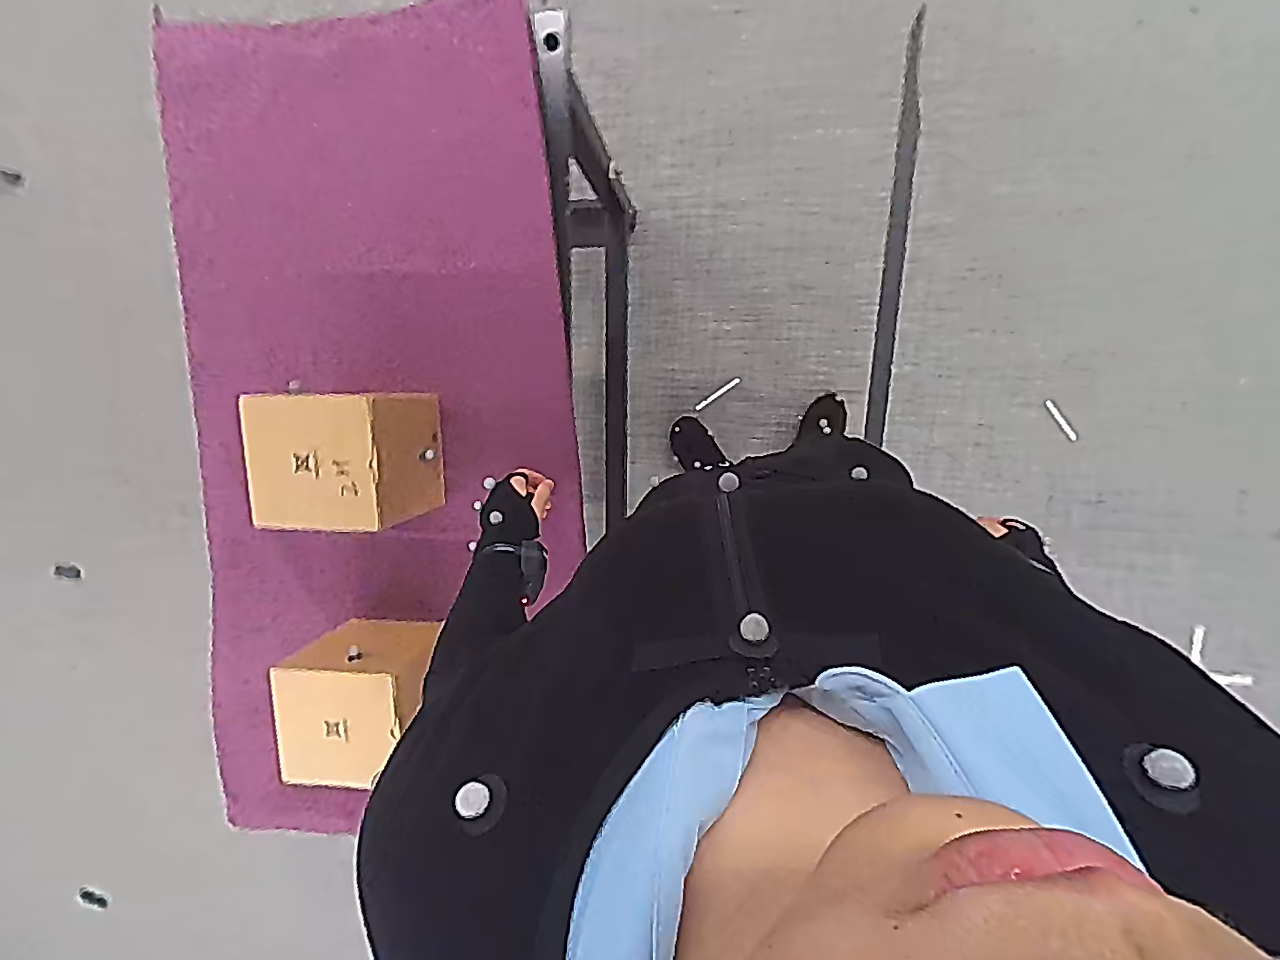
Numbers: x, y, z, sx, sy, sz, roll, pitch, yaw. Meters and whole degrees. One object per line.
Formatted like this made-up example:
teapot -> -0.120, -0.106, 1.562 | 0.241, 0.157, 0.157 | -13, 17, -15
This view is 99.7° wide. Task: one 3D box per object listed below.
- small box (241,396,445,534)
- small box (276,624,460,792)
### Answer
small box -> -0.391, -0.028, 0.738 | 0.179, 0.176, 0.168 | 1, 100, 7
small box -> -0.386, 0.321, 0.793 | 0.179, 0.176, 0.168 | 0, 98, 7
